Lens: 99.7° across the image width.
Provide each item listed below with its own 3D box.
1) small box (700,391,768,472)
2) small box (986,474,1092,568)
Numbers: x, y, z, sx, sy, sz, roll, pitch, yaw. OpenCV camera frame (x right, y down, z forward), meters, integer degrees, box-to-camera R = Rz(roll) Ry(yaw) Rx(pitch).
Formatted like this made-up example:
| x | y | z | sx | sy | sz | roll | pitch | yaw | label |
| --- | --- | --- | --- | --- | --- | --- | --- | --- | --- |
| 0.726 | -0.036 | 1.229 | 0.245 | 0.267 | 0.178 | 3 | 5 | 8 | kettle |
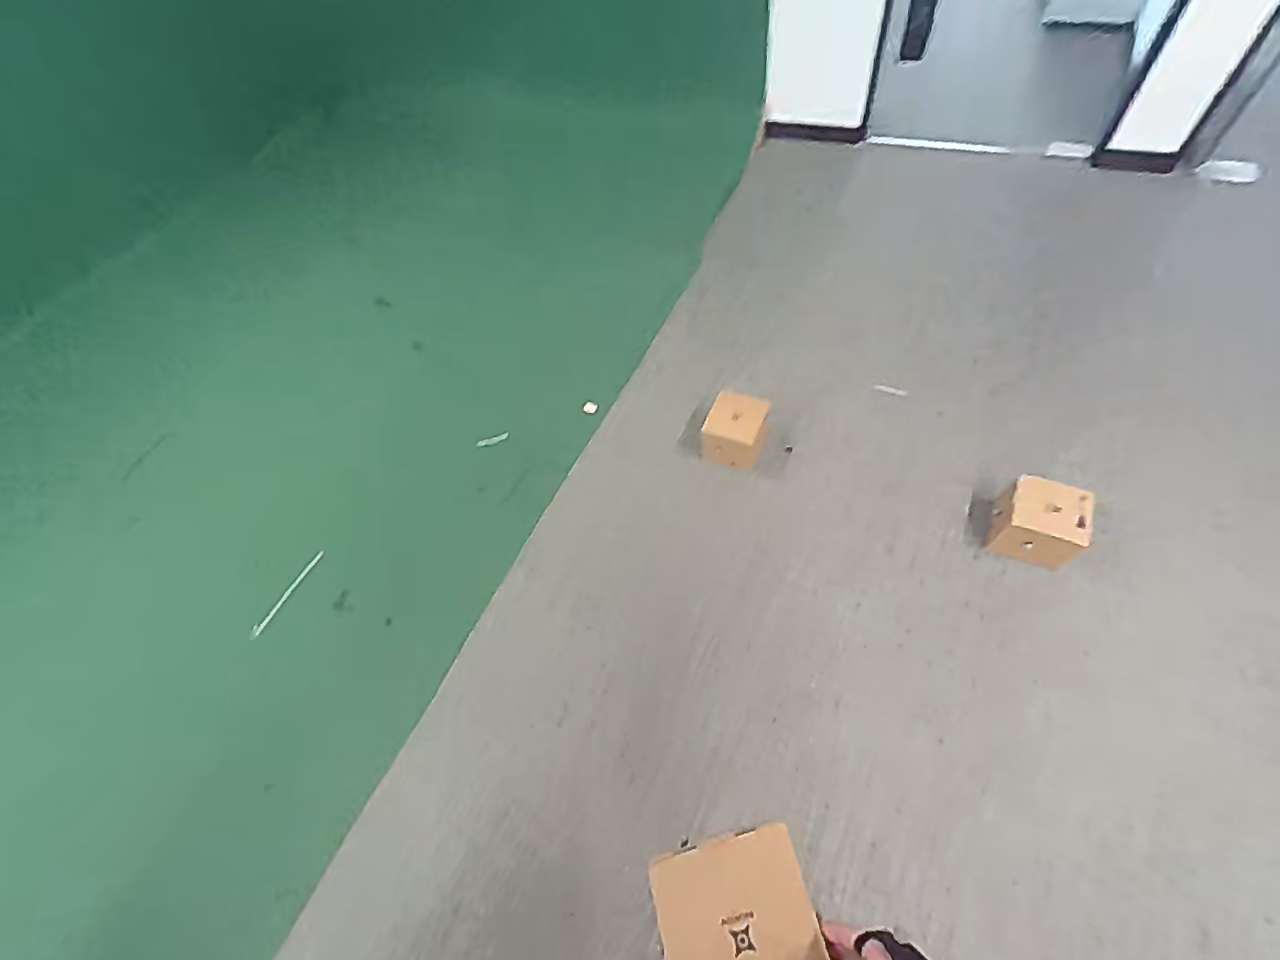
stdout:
| x | y | z | sx | sy | sz | roll | pitch | yaw | label |
| --- | --- | --- | --- | --- | --- | --- | --- | --- | --- |
| 0.302 | -0.151 | 1.732 | 0.168 | 0.176 | 0.179 | 18 | 62 | 19 | small box |
| 1.059 | 0.114 | 1.445 | 0.179 | 0.176 | 0.168 | 19 | 64 | 20 | small box |
